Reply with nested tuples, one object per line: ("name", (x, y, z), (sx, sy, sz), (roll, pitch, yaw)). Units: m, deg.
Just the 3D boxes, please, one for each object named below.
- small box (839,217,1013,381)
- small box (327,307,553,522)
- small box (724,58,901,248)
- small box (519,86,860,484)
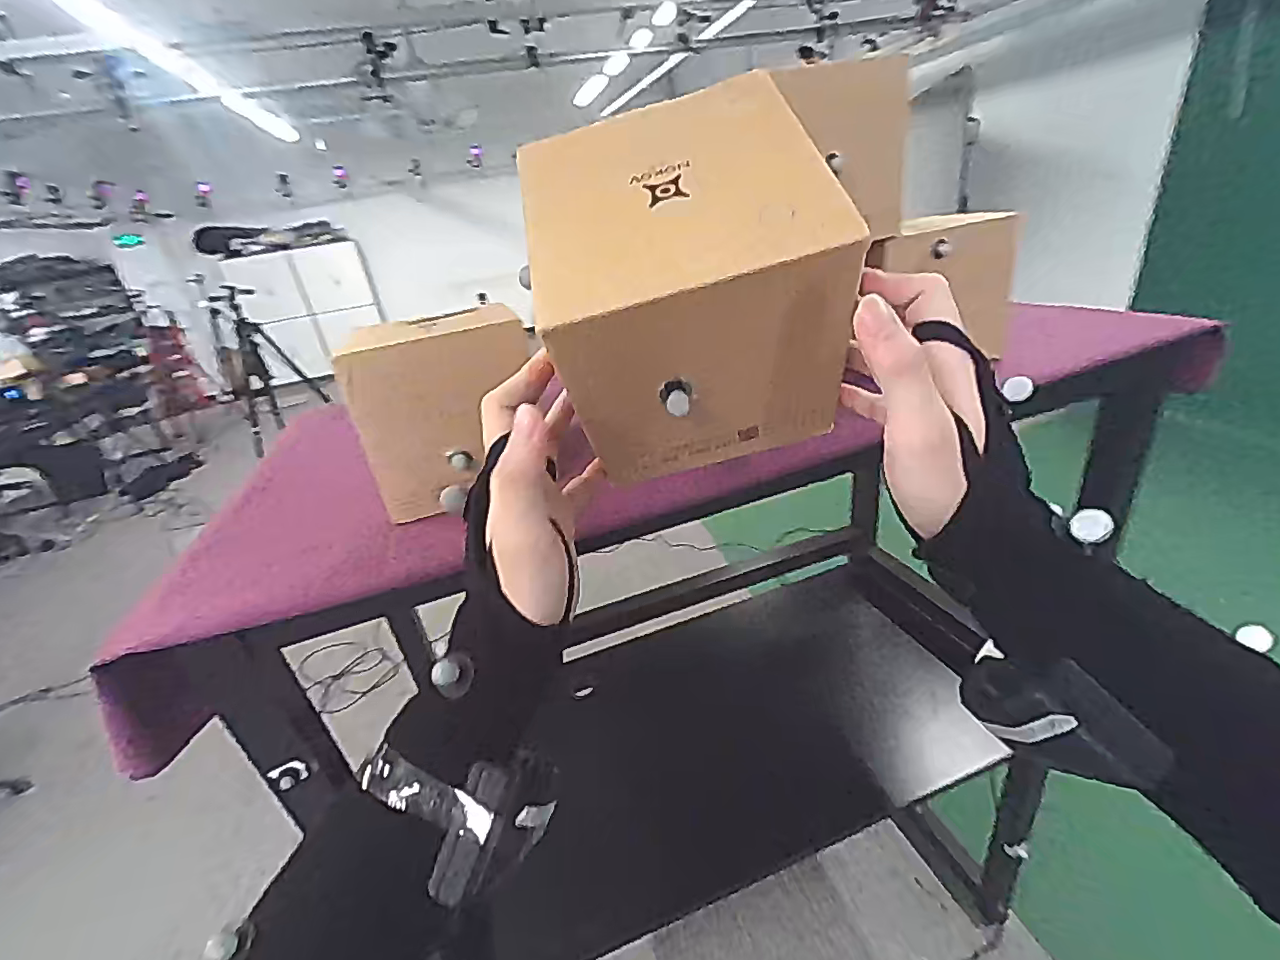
("small box", (0.345, -0.239, 0.715), (0.168, 0.176, 0.179), (-13, 25, -4))
("small box", (-0.200, -0.078, 0.576), (0.168, 0.176, 0.179), (-16, 27, -13))
("small box", (0.170, -0.347, 0.620), (0.168, 0.176, 0.179), (-15, 26, -10))
("small box", (0.031, -0.113, 0.369), (0.168, 0.176, 0.179), (-15, 59, 5))
